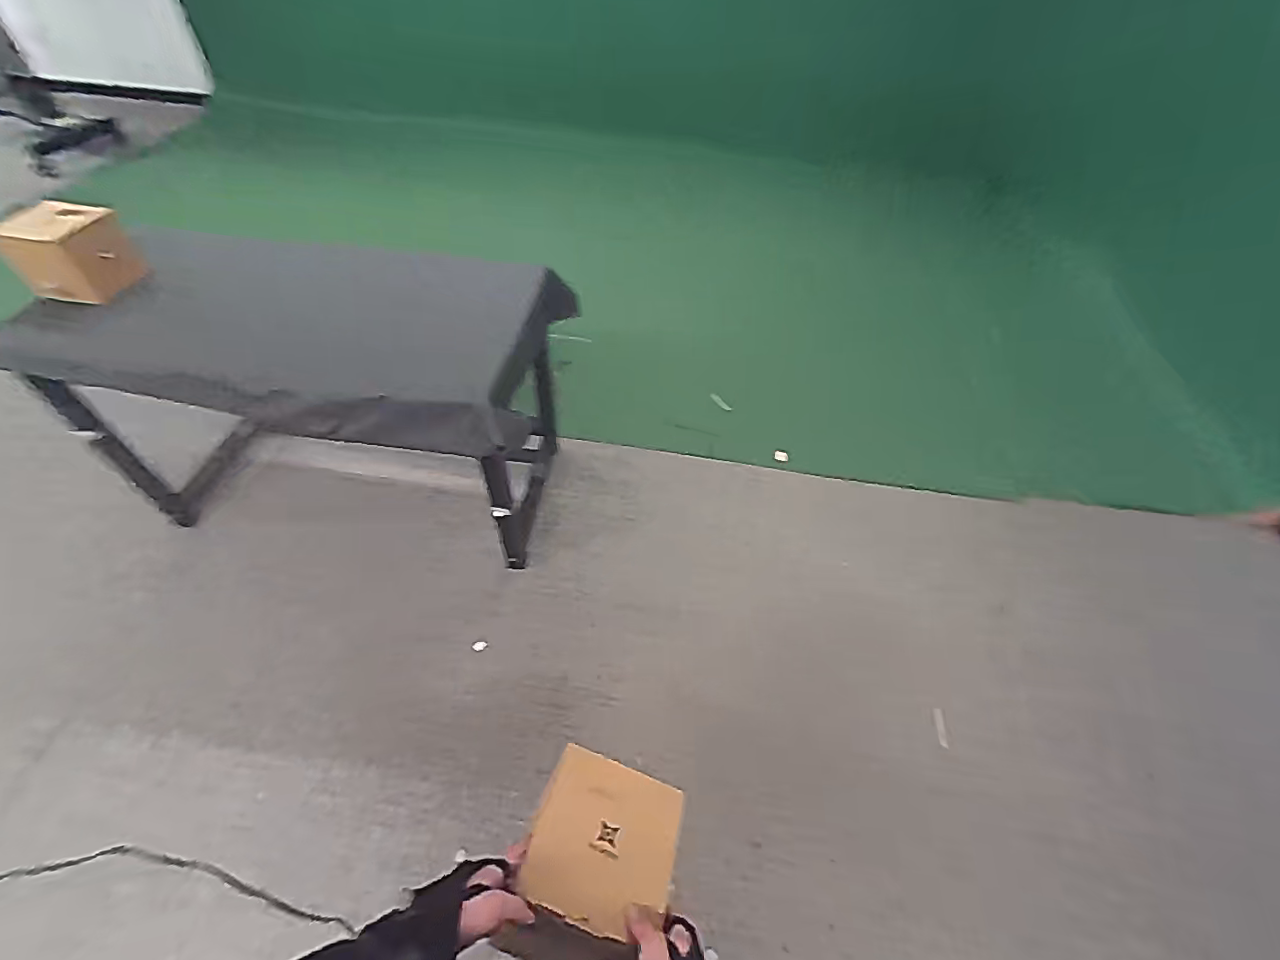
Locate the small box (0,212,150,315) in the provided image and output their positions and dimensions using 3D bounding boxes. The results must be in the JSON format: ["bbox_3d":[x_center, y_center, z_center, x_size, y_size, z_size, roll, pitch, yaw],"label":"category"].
[{"bbox_3d":[-1.397,-0.542,1.355,0.168,0.176,0.179,8,50,3],"label":"small box"}]

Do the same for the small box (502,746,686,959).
[{"bbox_3d":[-0.057,0.480,0.671,0.168,0.176,0.179,22,32,0],"label":"small box"}]
